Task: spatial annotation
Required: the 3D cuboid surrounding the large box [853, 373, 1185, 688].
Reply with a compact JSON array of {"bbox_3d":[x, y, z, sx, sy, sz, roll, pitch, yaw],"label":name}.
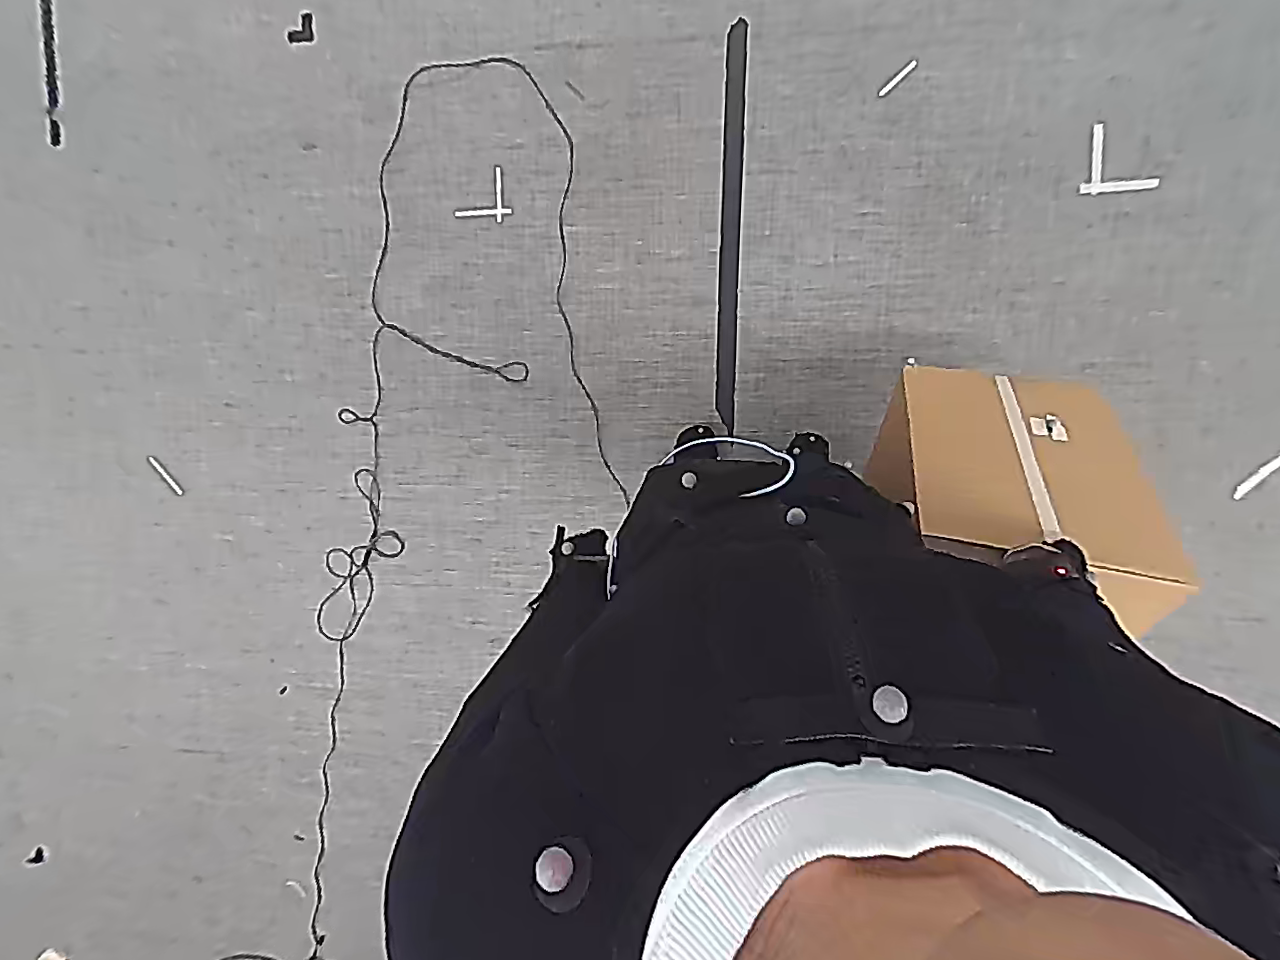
[{"bbox_3d":[0.563,0.072,0.919,0.320,0.408,0.320,11,135,10],"label":"large box"}]
